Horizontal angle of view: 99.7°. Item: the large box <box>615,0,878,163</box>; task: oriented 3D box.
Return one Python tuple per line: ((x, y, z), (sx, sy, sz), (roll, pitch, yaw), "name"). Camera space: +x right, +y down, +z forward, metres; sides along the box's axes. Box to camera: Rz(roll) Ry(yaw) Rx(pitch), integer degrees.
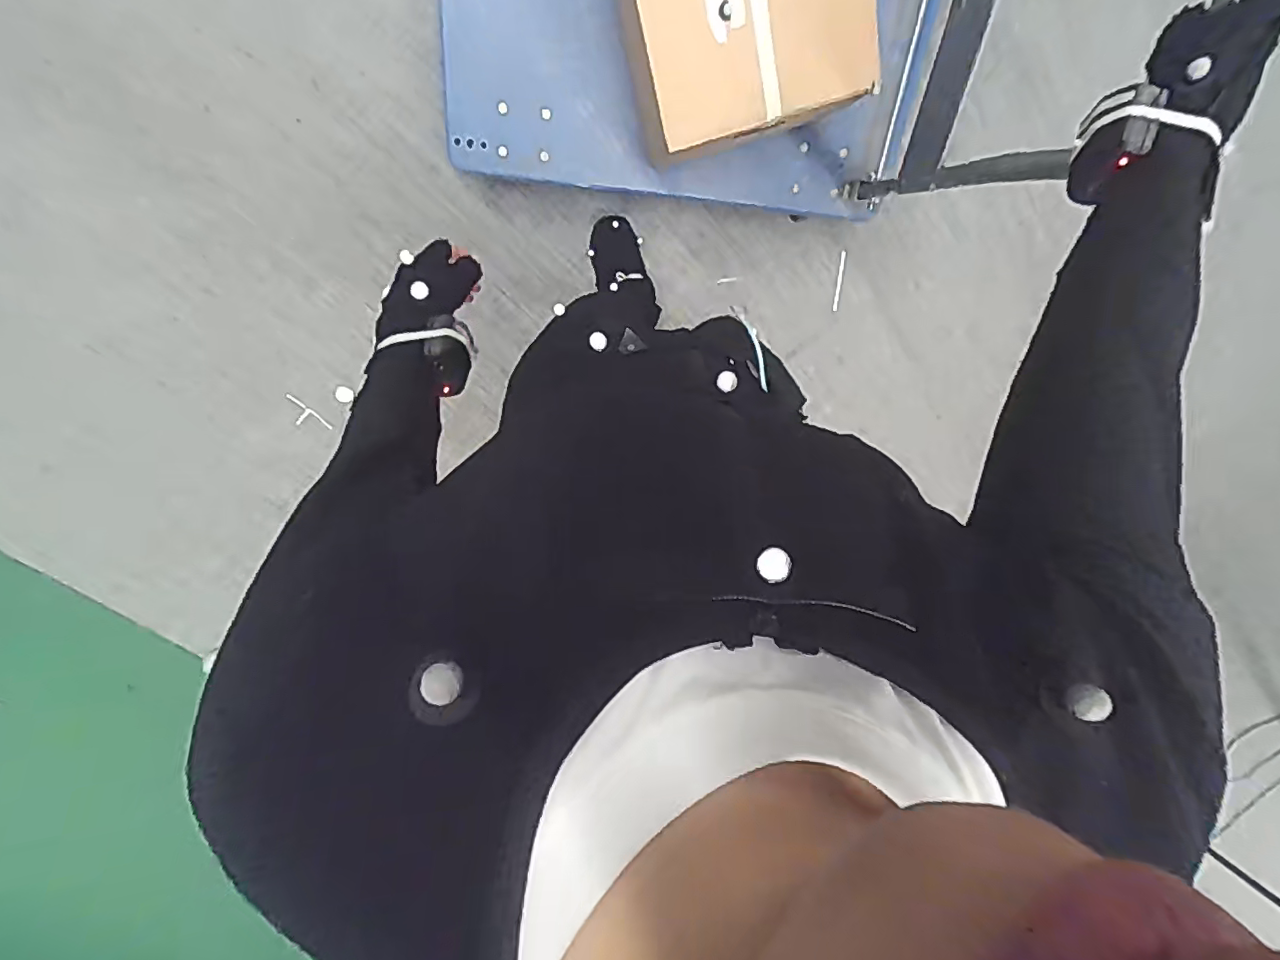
((0.129, -0.763, 0.829), (0.320, 0.320, 0.408), (-15, 117, 5), "large box")
